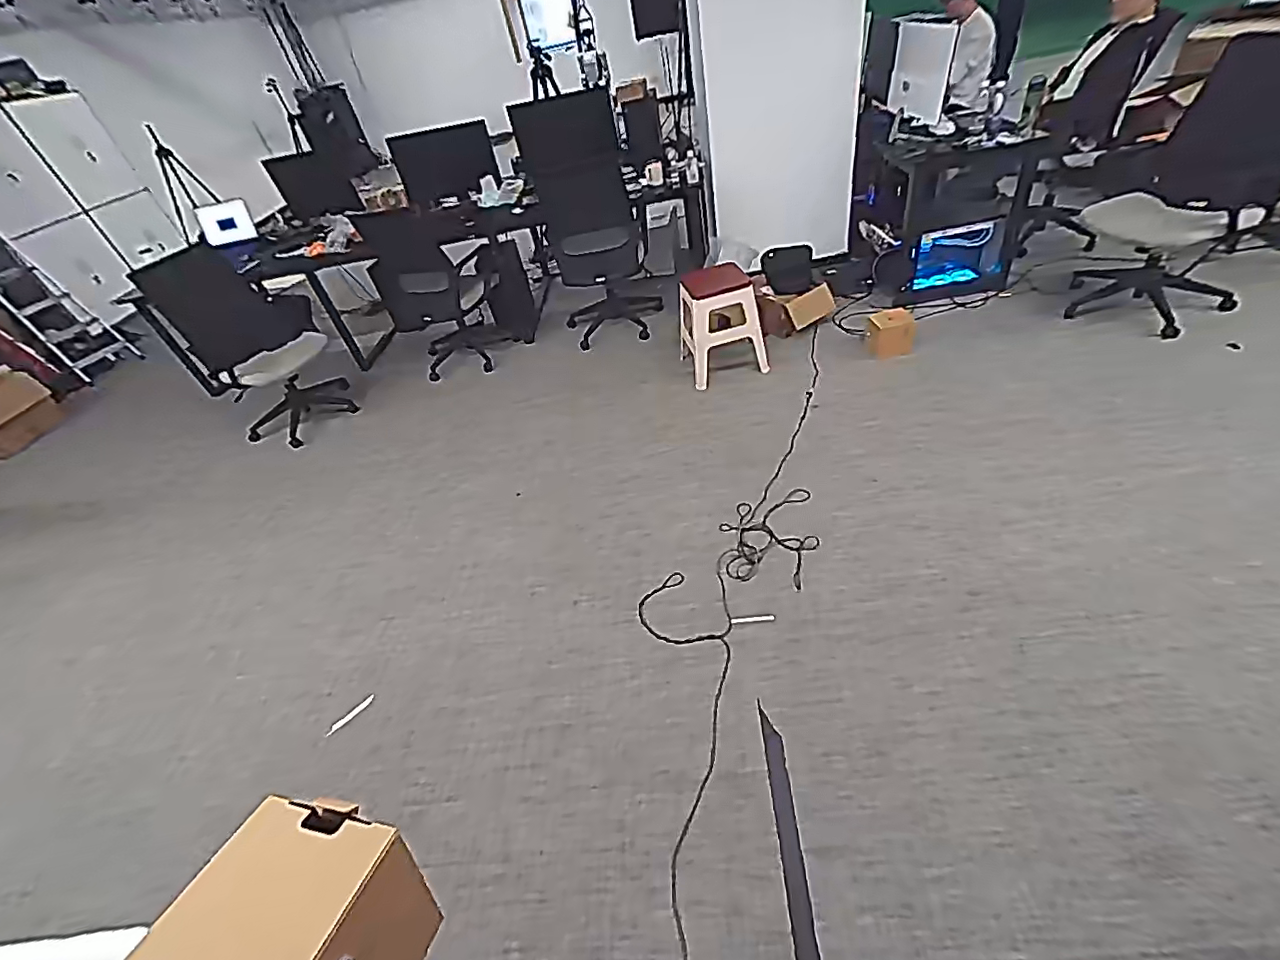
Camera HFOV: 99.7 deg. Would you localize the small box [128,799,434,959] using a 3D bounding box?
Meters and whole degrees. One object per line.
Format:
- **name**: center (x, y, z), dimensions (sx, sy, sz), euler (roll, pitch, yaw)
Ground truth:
- **small box**: center (-0.323, 0.447, 0.505), dimensions (0.168, 0.176, 0.179), euler (2, 27, 17)
